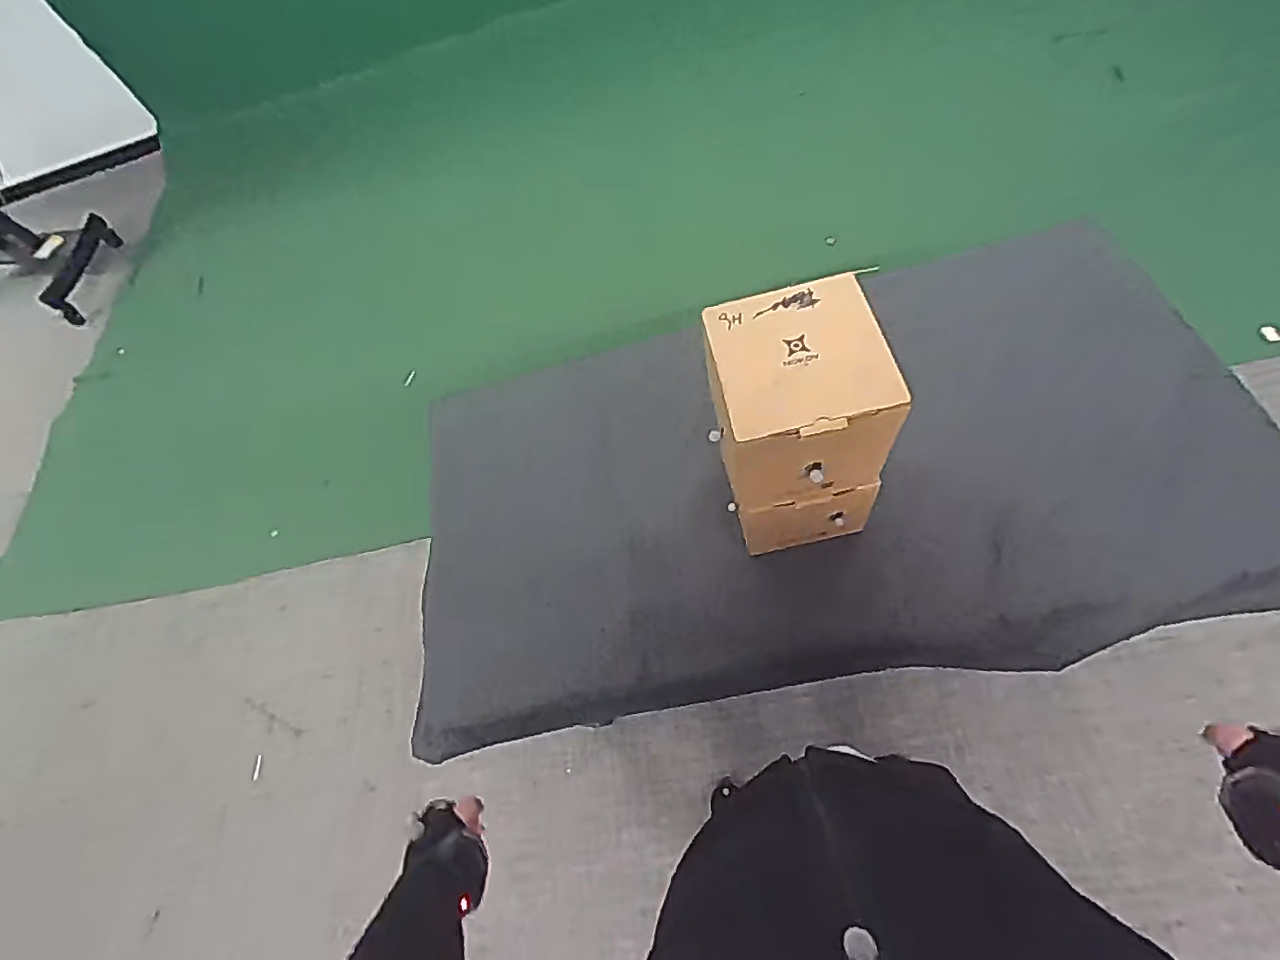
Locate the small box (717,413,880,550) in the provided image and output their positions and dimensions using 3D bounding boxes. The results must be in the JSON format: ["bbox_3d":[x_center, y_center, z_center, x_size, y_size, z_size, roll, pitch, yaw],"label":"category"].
[{"bbox_3d":[0.211,-0.014,0.757,0.168,0.176,0.179,-13,61,5],"label":"small box"}]

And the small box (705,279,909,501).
[{"bbox_3d":[0.176,-0.087,0.615,0.168,0.176,0.179,-12,64,6],"label":"small box"}]
